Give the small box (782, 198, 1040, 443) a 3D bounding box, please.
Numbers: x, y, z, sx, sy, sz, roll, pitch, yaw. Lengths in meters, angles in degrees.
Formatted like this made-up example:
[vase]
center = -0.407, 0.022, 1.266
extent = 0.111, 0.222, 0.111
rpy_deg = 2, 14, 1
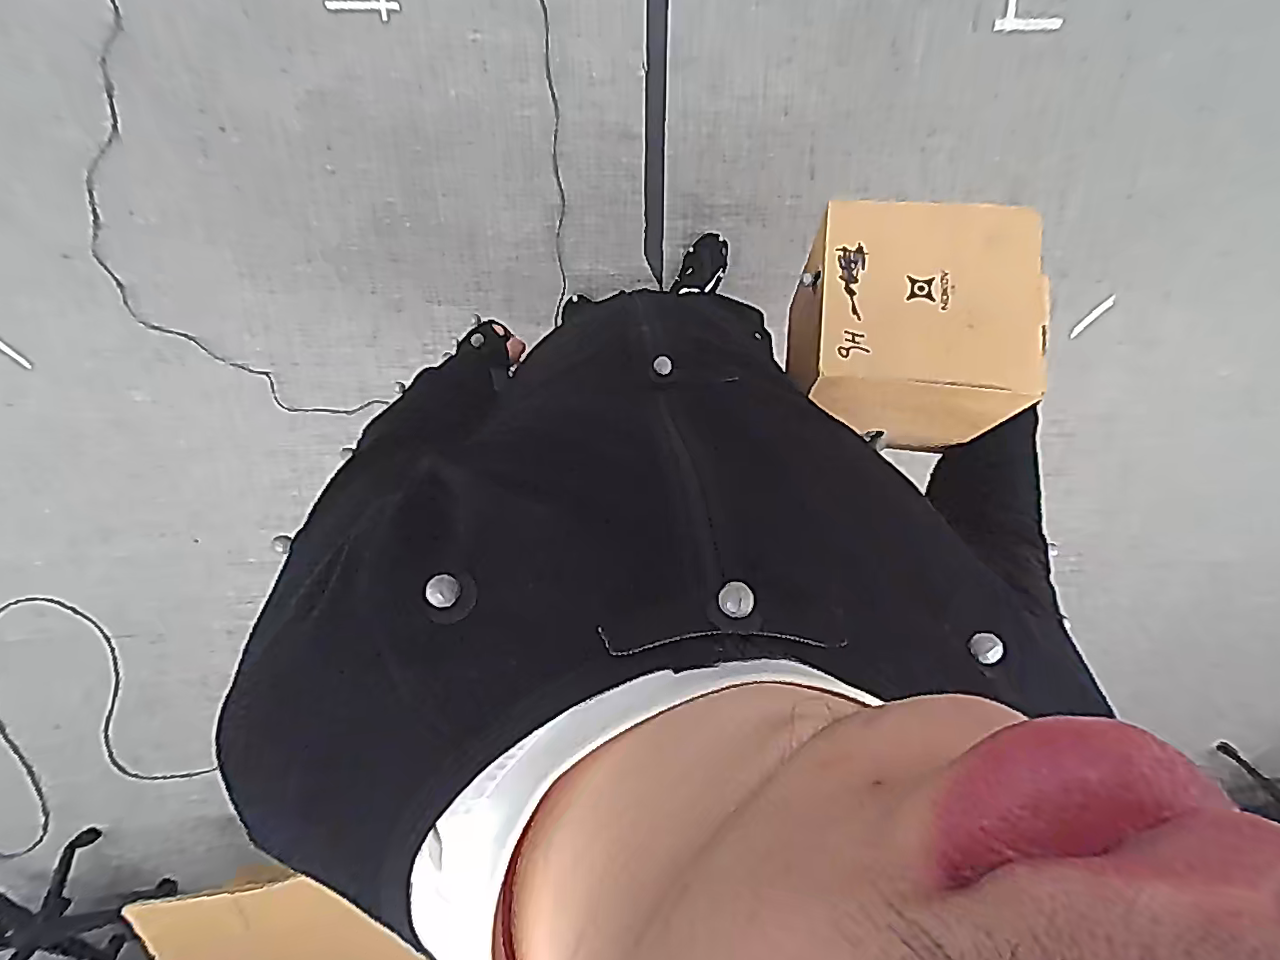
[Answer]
[small box]
center = 0.250, -0.143, 0.533
extent = 0.179, 0.176, 0.168
rpy_deg = 7, 76, 5
